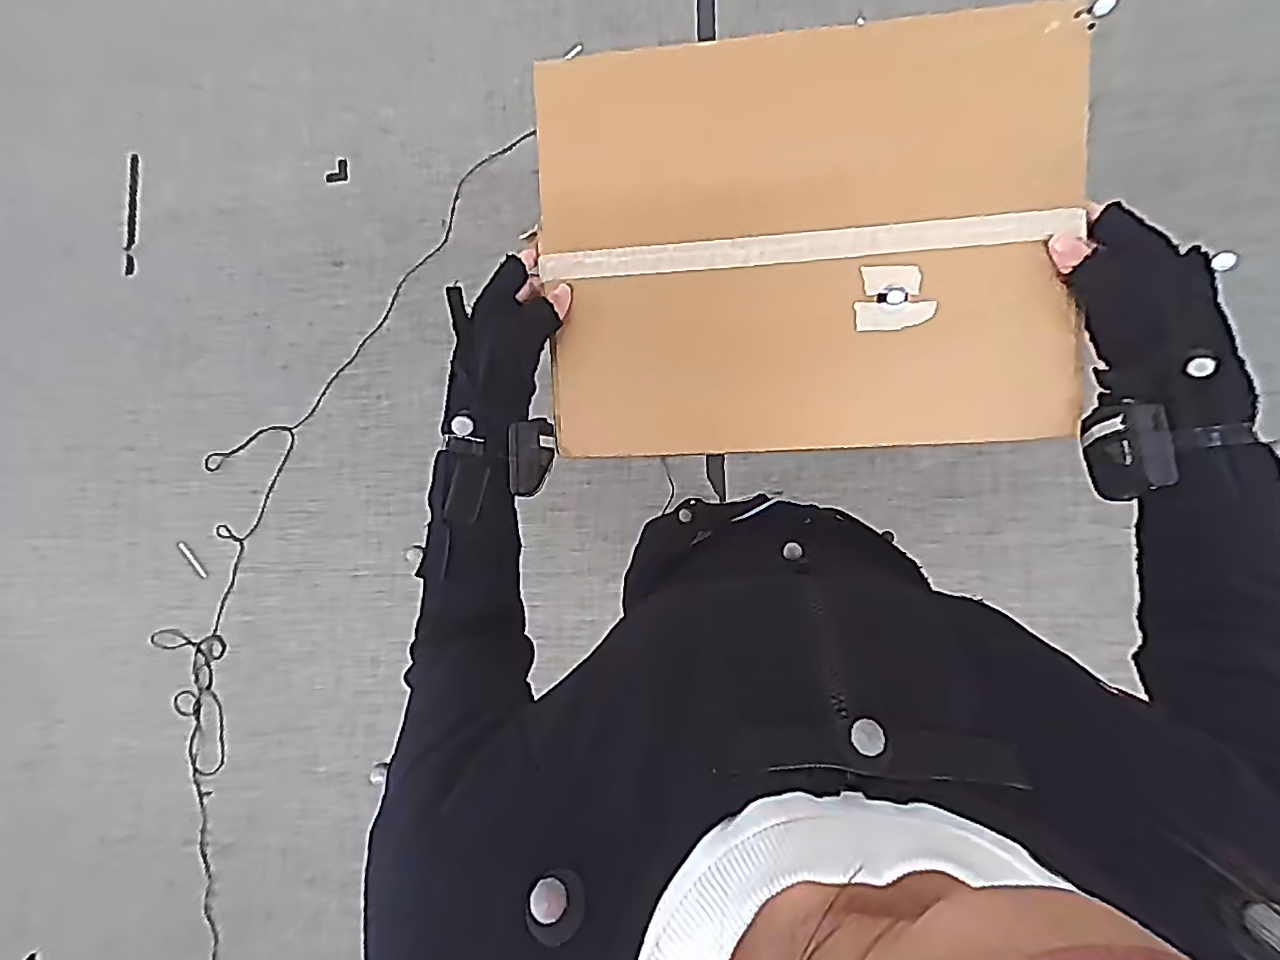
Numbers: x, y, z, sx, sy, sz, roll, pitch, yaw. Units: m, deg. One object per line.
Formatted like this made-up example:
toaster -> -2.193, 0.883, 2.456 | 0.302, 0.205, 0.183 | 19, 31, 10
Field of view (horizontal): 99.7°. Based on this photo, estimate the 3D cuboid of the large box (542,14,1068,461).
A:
large box -> 0.138, -0.194, 0.578 | 0.408, 0.320, 0.320 | -3, 96, 6
